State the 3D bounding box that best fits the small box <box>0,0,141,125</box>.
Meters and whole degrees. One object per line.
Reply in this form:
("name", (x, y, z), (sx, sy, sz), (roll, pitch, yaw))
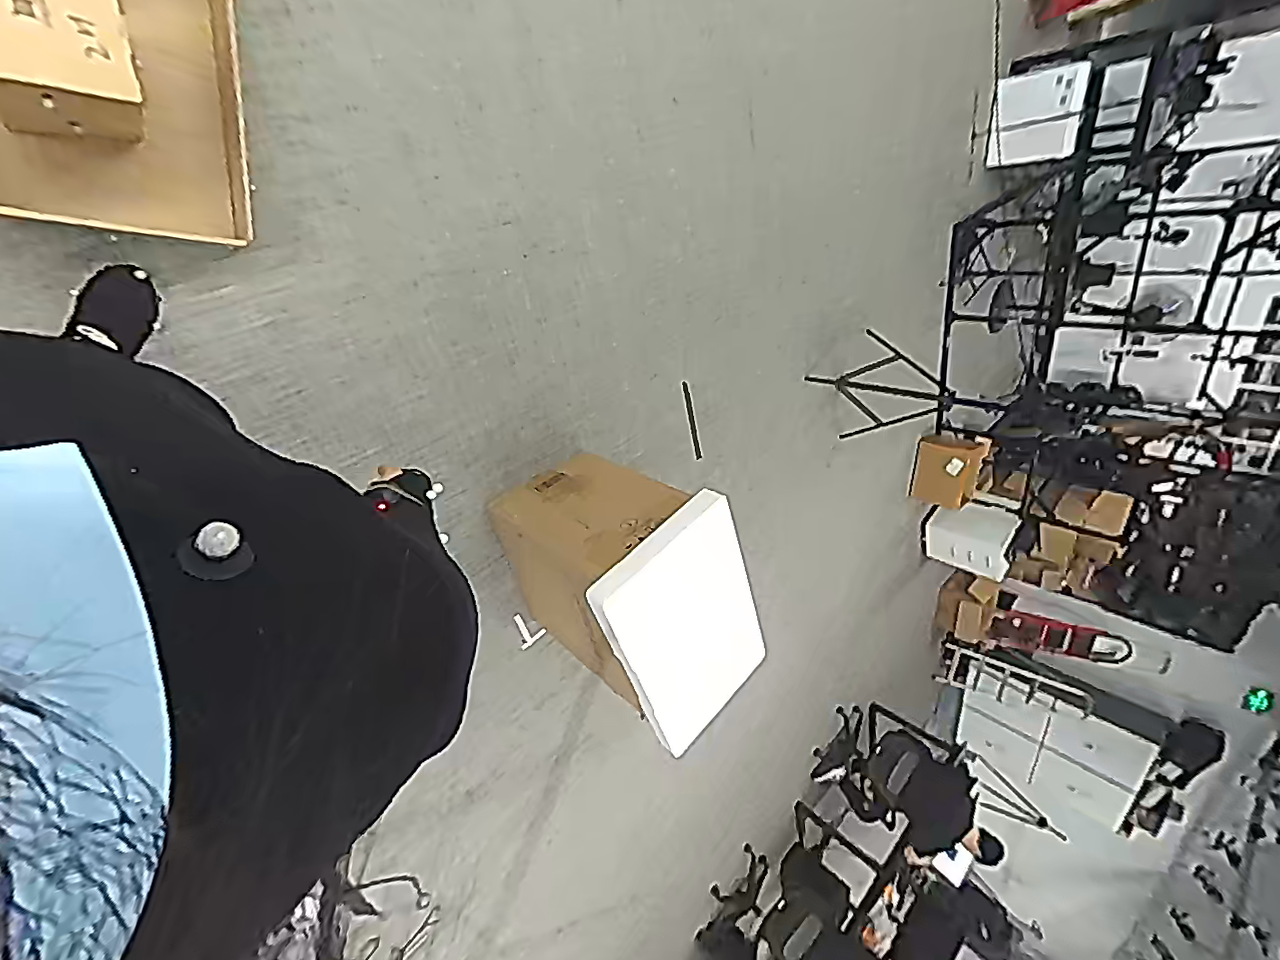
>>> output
("small box", (-0.800, -0.600, 0.722), (0.179, 0.176, 0.168), (-14, 113, -40))
